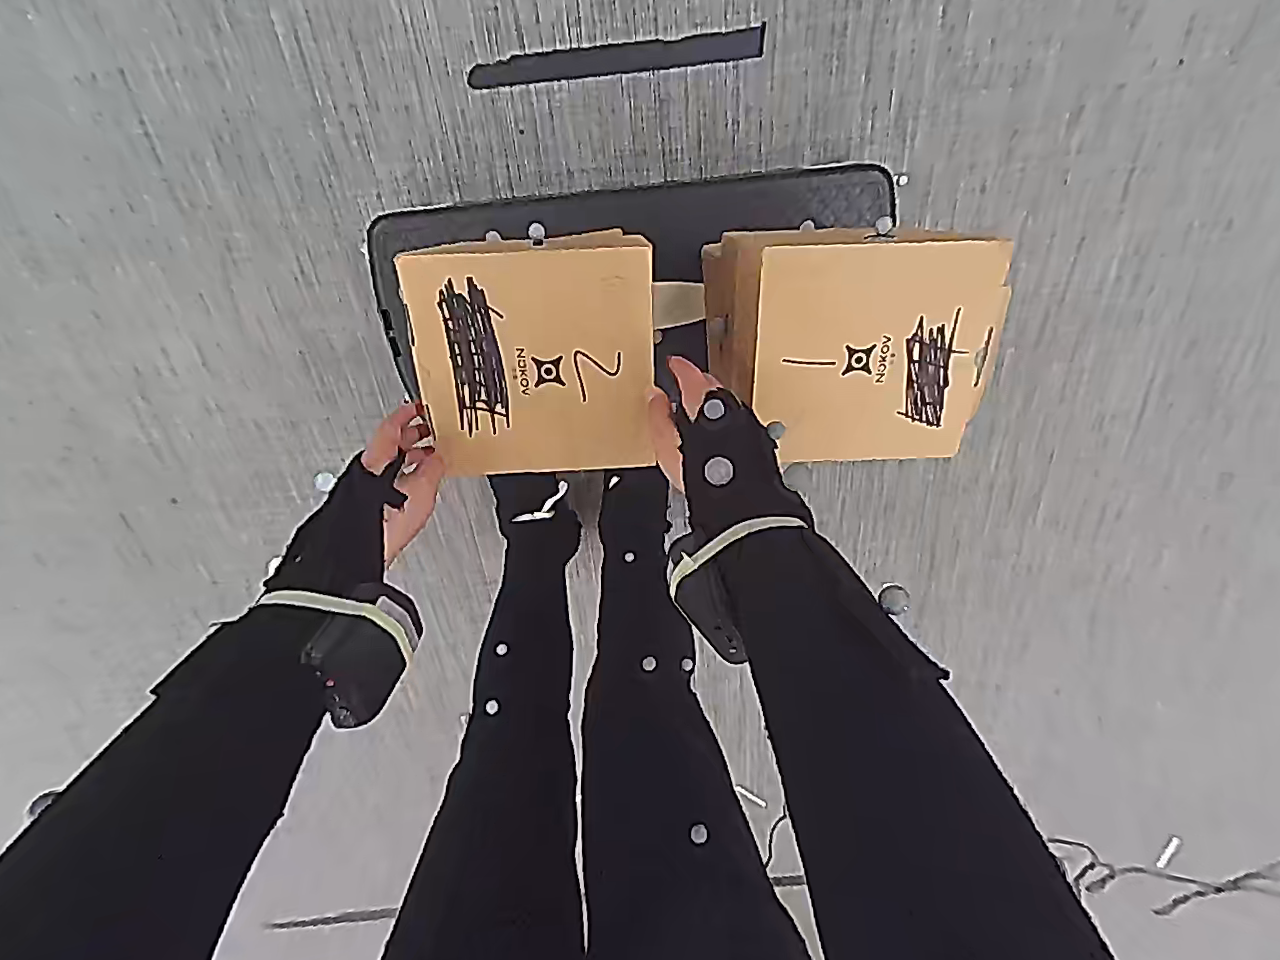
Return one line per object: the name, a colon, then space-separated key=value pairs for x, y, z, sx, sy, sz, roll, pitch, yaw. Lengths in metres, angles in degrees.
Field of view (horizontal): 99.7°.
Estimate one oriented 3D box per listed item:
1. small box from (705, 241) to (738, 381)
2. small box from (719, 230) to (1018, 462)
small box: x=0.172 y=-0.187 z=0.629 sx=0.168 sy=0.176 sz=0.179 roll=-7 pitch=117 yaw=1
small box: x=0.173 y=-0.126 z=0.476 sx=0.179 sy=0.176 sz=0.168 roll=-1 pitch=117 yaw=0
